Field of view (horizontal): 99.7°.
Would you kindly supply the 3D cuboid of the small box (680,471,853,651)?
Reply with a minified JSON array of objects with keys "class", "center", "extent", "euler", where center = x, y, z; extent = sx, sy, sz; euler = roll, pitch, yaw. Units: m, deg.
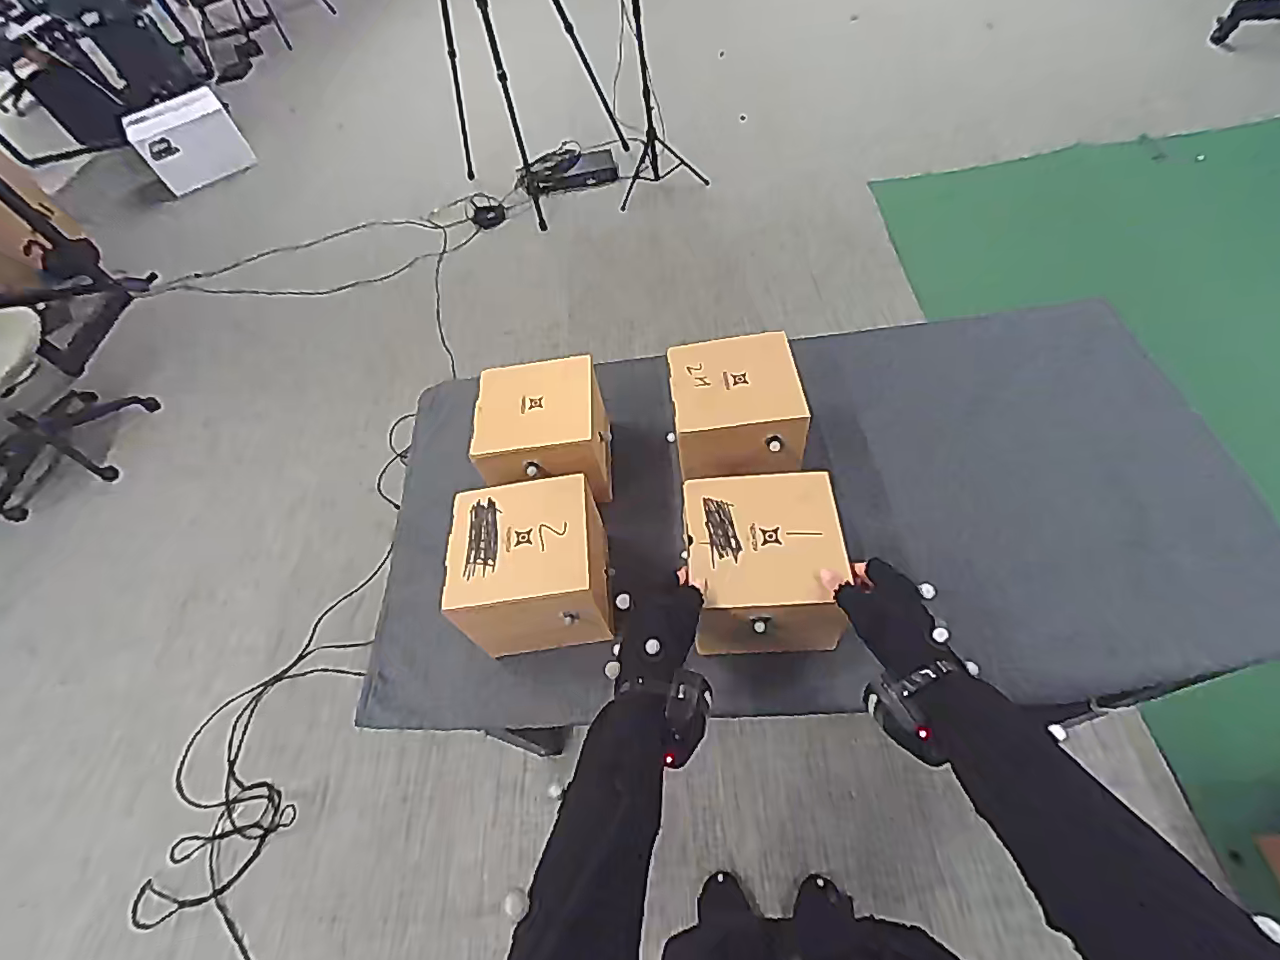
[{"class":"small box","center":[0.147,0.108,0.673],"extent":[0.179,0.176,0.168],"euler":[-5,56,7]}]

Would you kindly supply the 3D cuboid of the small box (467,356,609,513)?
[{"class":"small box","center":[-0.146,-0.066,0.845],"extent":[0.179,0.176,0.168],"euler":[-8,56,5]}]
